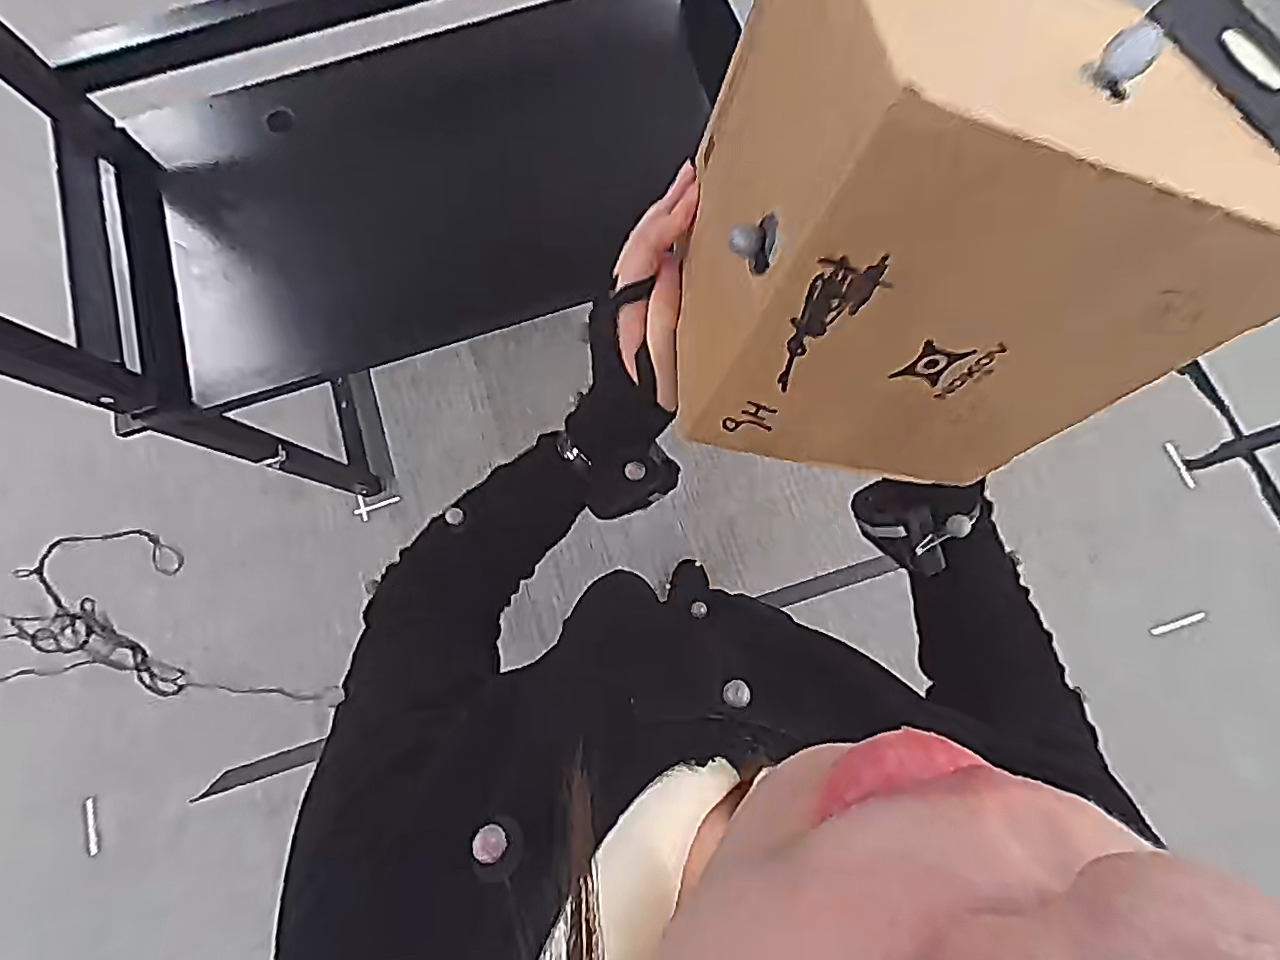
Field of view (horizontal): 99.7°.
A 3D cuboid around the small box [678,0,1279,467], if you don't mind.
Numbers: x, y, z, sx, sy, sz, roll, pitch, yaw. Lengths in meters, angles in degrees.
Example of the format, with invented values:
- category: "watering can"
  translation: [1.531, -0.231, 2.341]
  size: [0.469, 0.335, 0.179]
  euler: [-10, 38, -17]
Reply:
- category: "small box"
  translation: [0.126, -0.125, 0.245]
  size: [0.179, 0.168, 0.176]
  euler: [7, 61, -14]
